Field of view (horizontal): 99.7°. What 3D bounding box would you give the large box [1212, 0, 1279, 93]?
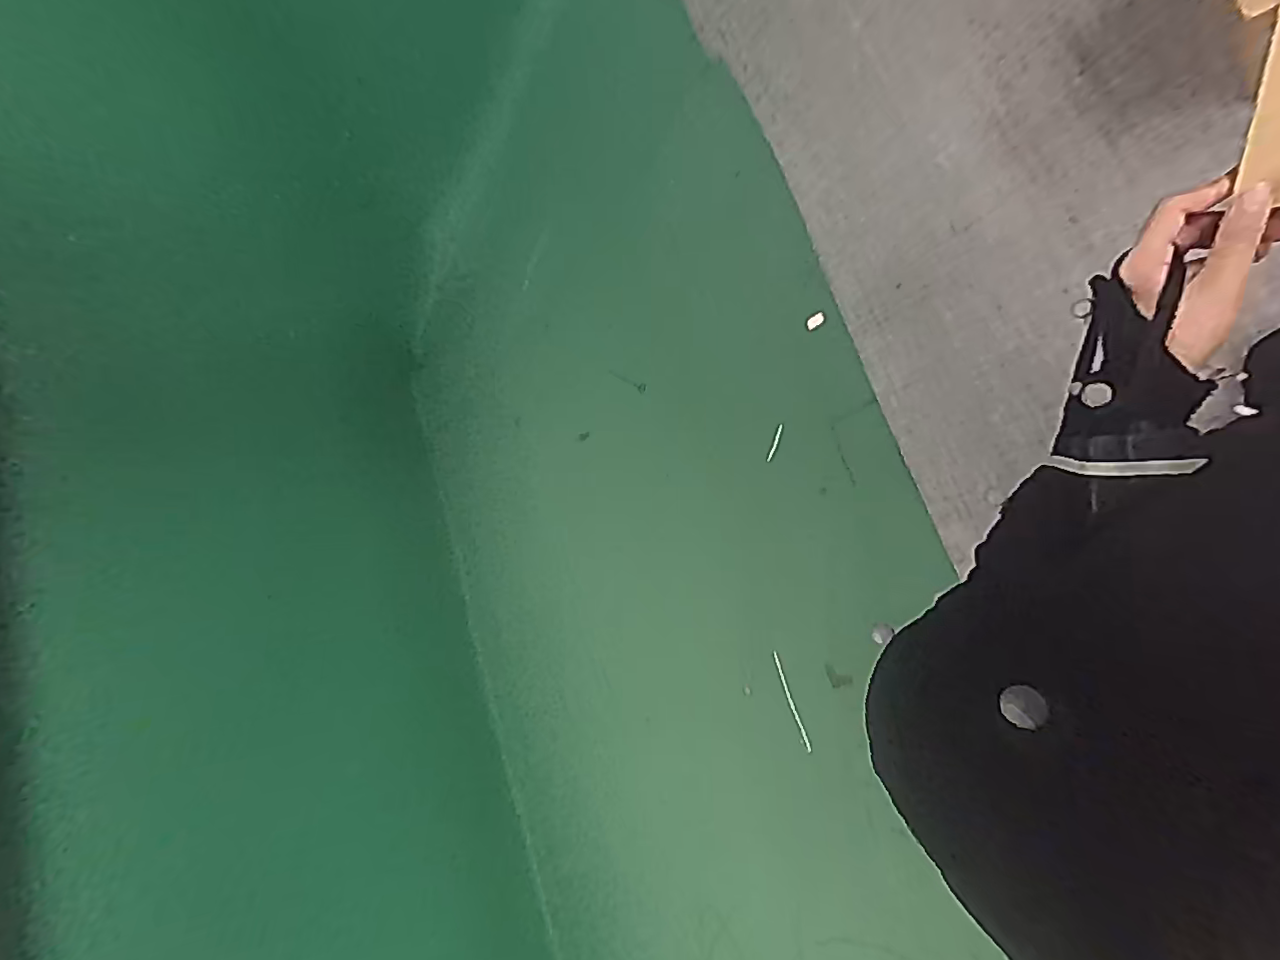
[{"bbox_3d":[0.975,-0.802,0.654,0.408,0.320,0.320,-23,80,49],"label":"large box"}]
